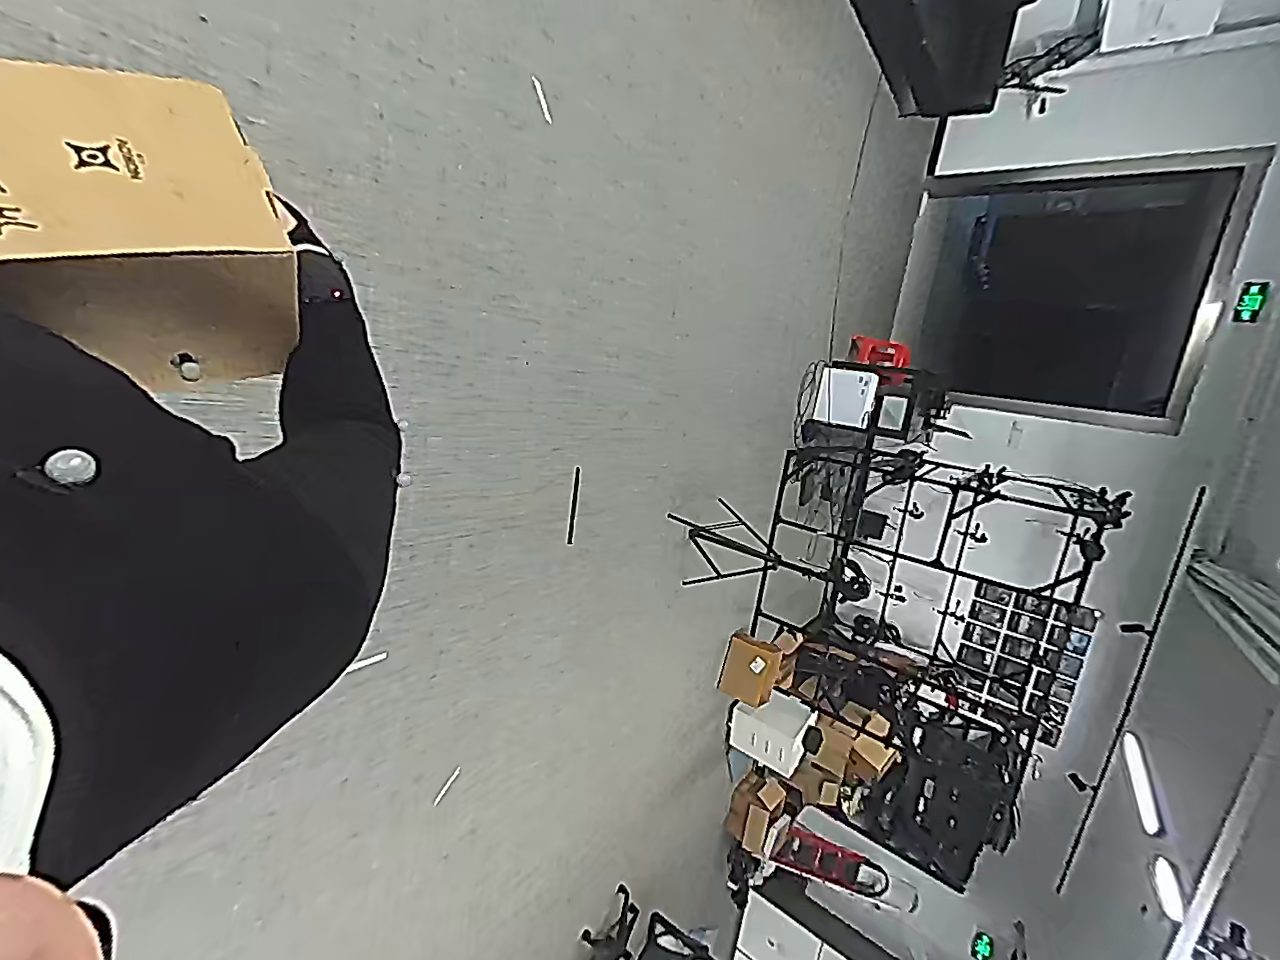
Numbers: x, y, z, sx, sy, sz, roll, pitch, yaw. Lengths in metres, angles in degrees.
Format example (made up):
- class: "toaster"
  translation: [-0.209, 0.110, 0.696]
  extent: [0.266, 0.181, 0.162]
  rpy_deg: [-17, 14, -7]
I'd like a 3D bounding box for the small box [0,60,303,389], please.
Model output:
- class: "small box"
  translation: [-0.408, -0.198, 0.453]
  extent: [0.179, 0.176, 0.168]
  rpy_deg: [-21, 79, -36]
